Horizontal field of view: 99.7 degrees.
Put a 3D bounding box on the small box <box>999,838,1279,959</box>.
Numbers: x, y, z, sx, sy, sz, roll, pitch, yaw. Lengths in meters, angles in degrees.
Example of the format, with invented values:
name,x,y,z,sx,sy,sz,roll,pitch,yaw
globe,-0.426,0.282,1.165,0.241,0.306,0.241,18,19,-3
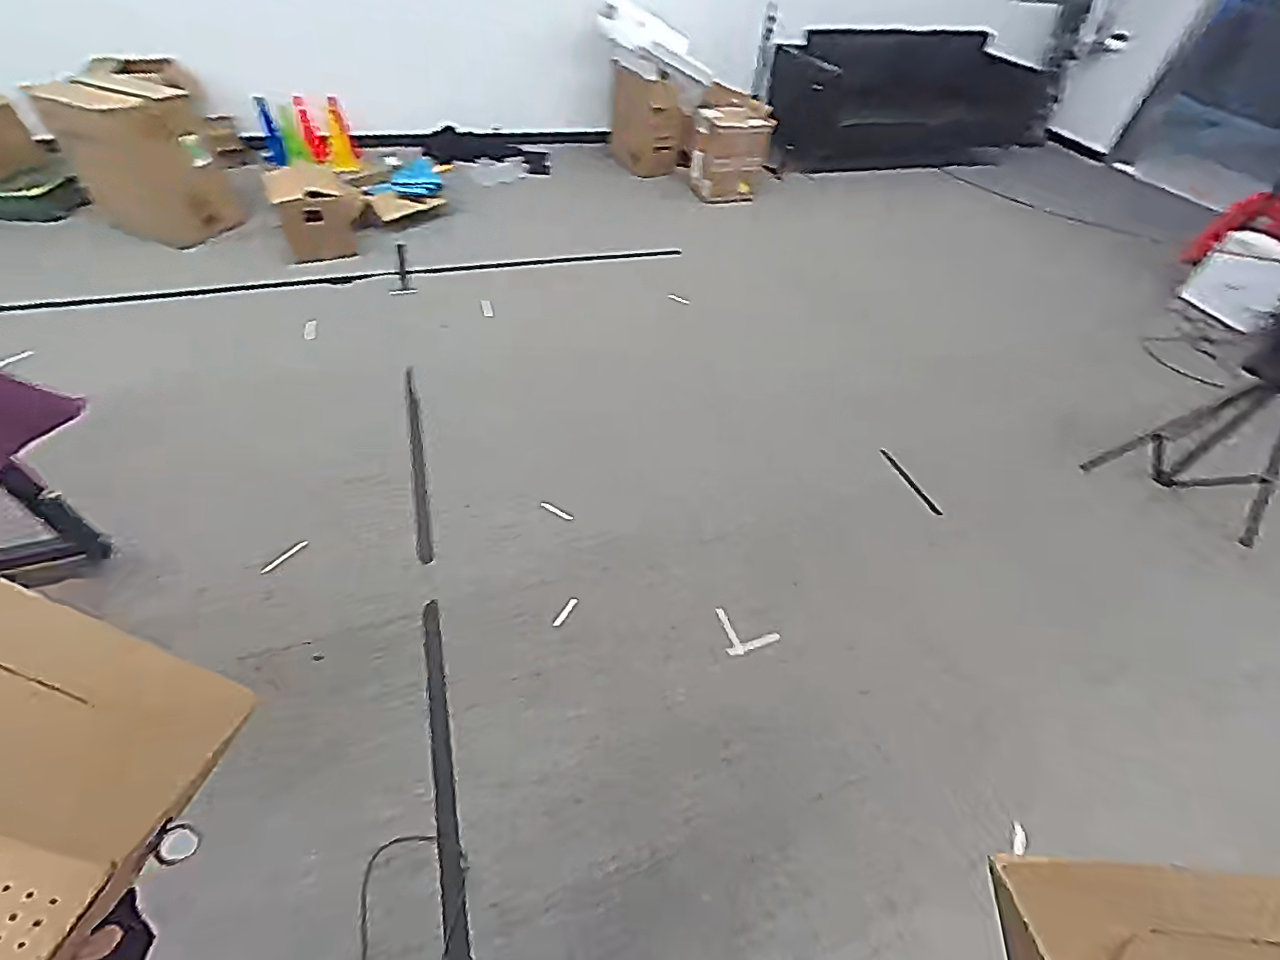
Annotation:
name,x,y,z,sx,sy,sz,roll,pitch,yaw
small box,0.280,0.280,0.232,0.168,0.179,0.176,-9,75,20

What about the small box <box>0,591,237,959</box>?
name,x,y,z,sx,sy,sz,roll,pitch,yaw
small box,-0.301,0.142,0.197,0.168,0.179,0.176,34,74,-16
